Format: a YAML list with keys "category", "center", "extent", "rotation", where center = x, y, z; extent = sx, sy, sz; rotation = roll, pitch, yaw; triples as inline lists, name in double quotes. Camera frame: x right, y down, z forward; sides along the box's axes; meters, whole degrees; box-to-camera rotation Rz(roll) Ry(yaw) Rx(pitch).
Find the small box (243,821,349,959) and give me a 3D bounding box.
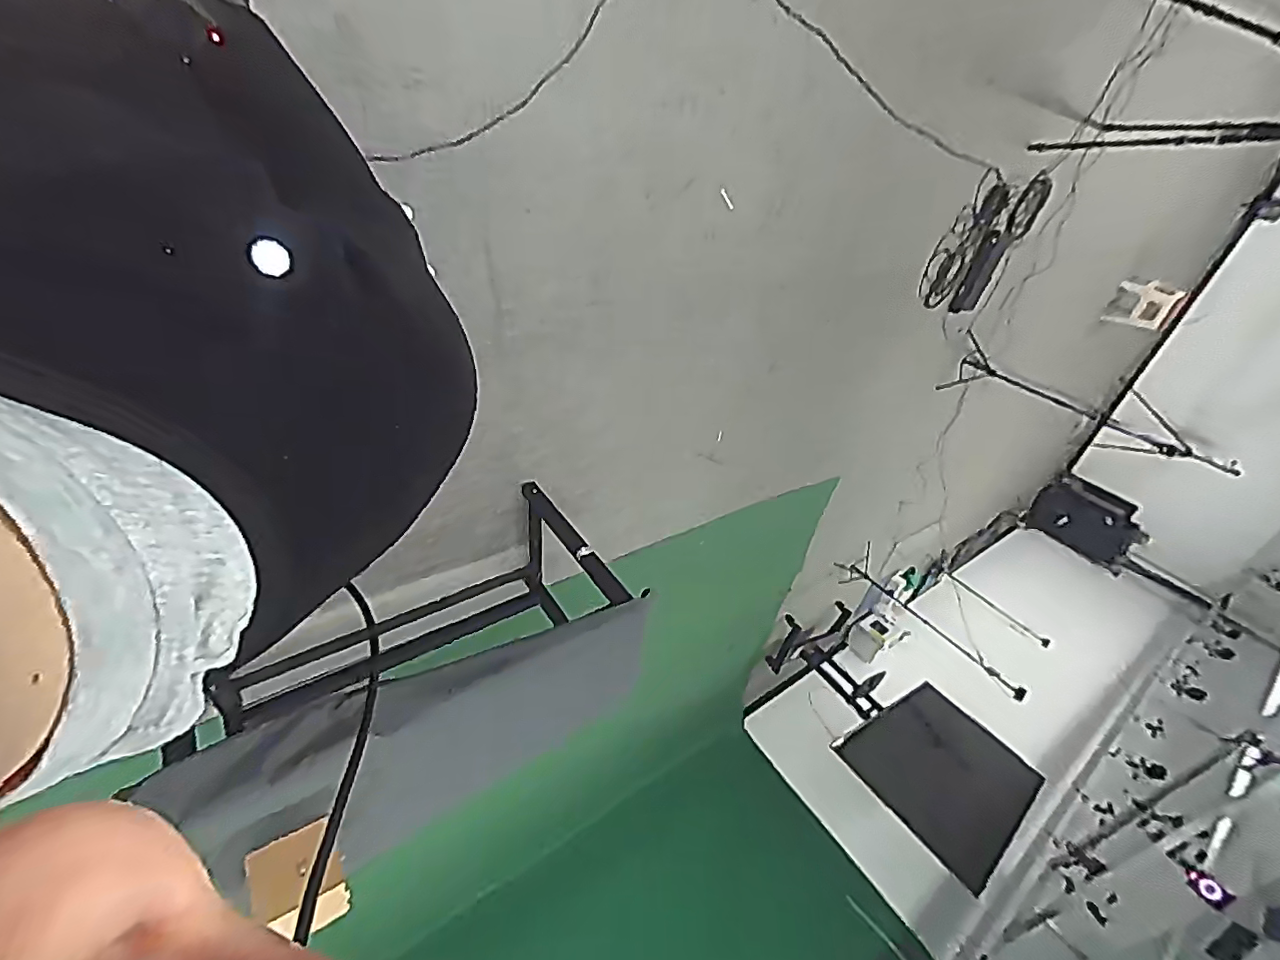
- category: "small box"
  center: [-0.809, 0.956, 1.274]
  extent: [0.179, 0.176, 0.168]
  rotation: [-13, 130, -37]
